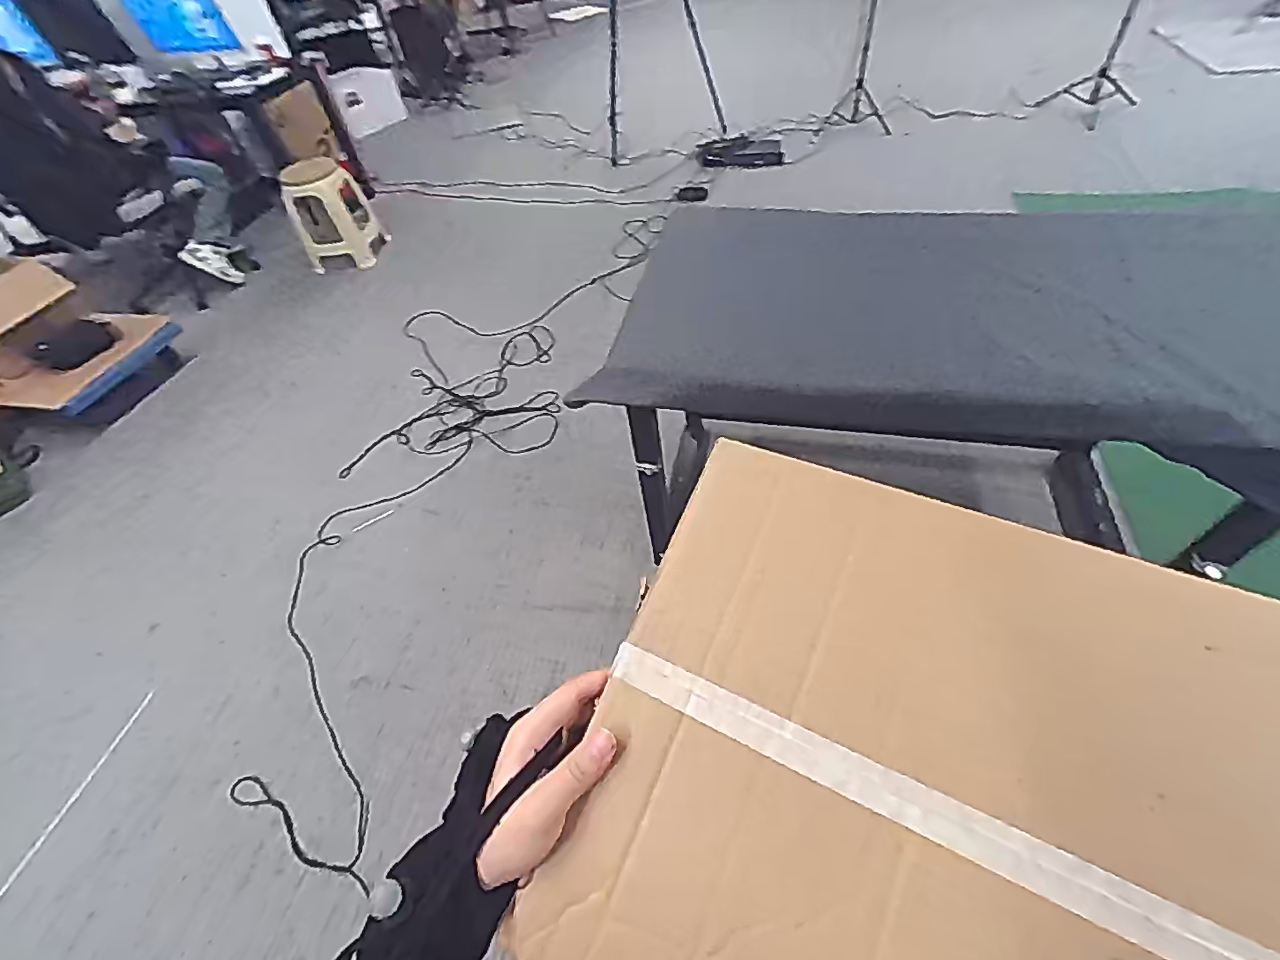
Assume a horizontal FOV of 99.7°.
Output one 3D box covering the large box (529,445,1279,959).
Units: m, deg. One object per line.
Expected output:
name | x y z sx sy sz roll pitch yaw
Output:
large box | 0.204 0.220 0.399 0.408 0.320 0.320 18 73 21
